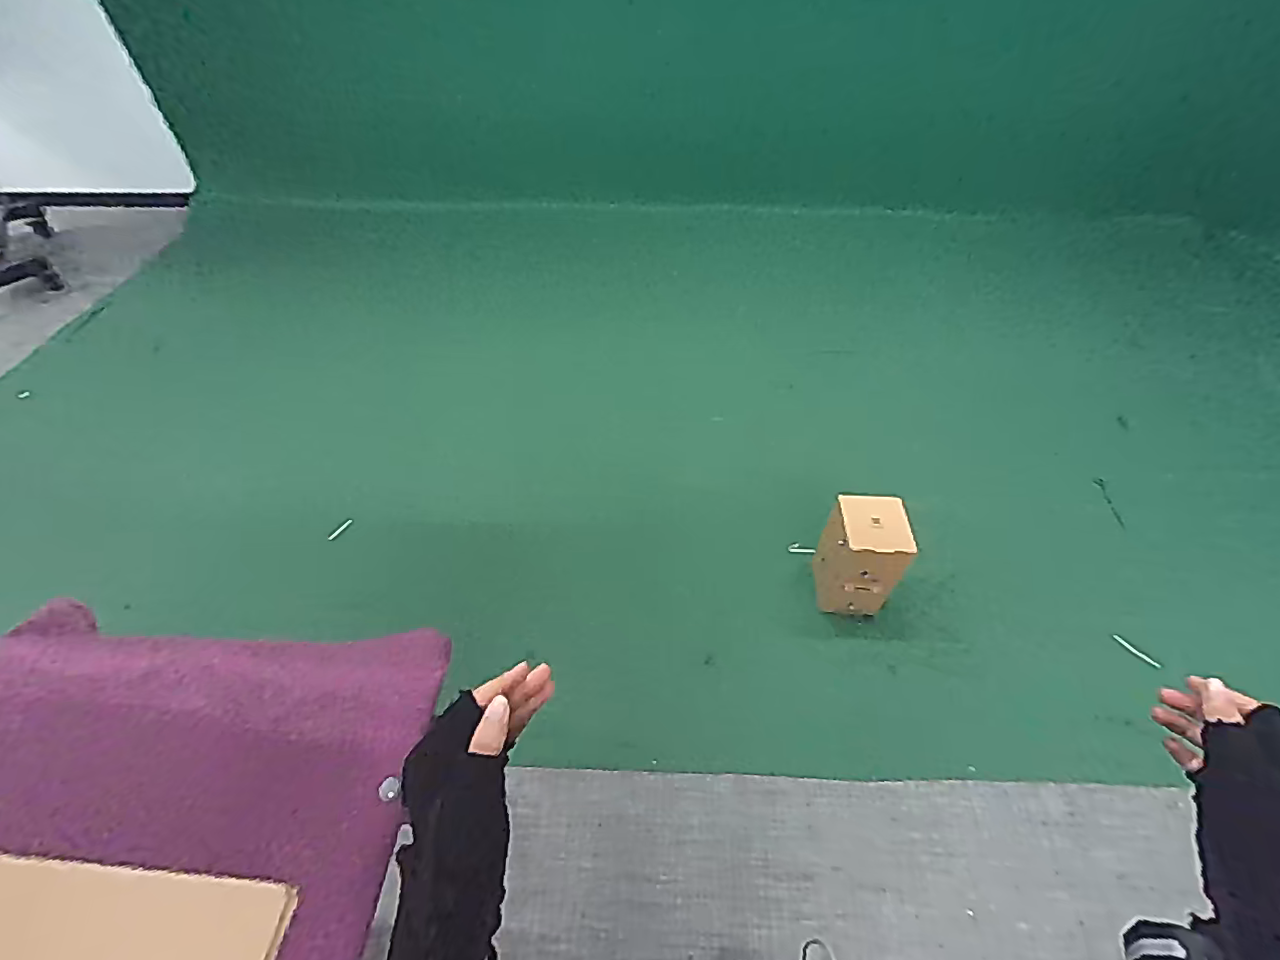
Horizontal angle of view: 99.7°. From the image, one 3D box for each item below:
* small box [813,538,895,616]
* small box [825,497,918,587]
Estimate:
[{"bbox_3d":[0.611,0.273,1.571,0.168,0.176,0.179,3,50,3],"label":"small box"},{"bbox_3d":[0.608,0.166,1.447,0.168,0.176,0.179,2,50,2],"label":"small box"}]
